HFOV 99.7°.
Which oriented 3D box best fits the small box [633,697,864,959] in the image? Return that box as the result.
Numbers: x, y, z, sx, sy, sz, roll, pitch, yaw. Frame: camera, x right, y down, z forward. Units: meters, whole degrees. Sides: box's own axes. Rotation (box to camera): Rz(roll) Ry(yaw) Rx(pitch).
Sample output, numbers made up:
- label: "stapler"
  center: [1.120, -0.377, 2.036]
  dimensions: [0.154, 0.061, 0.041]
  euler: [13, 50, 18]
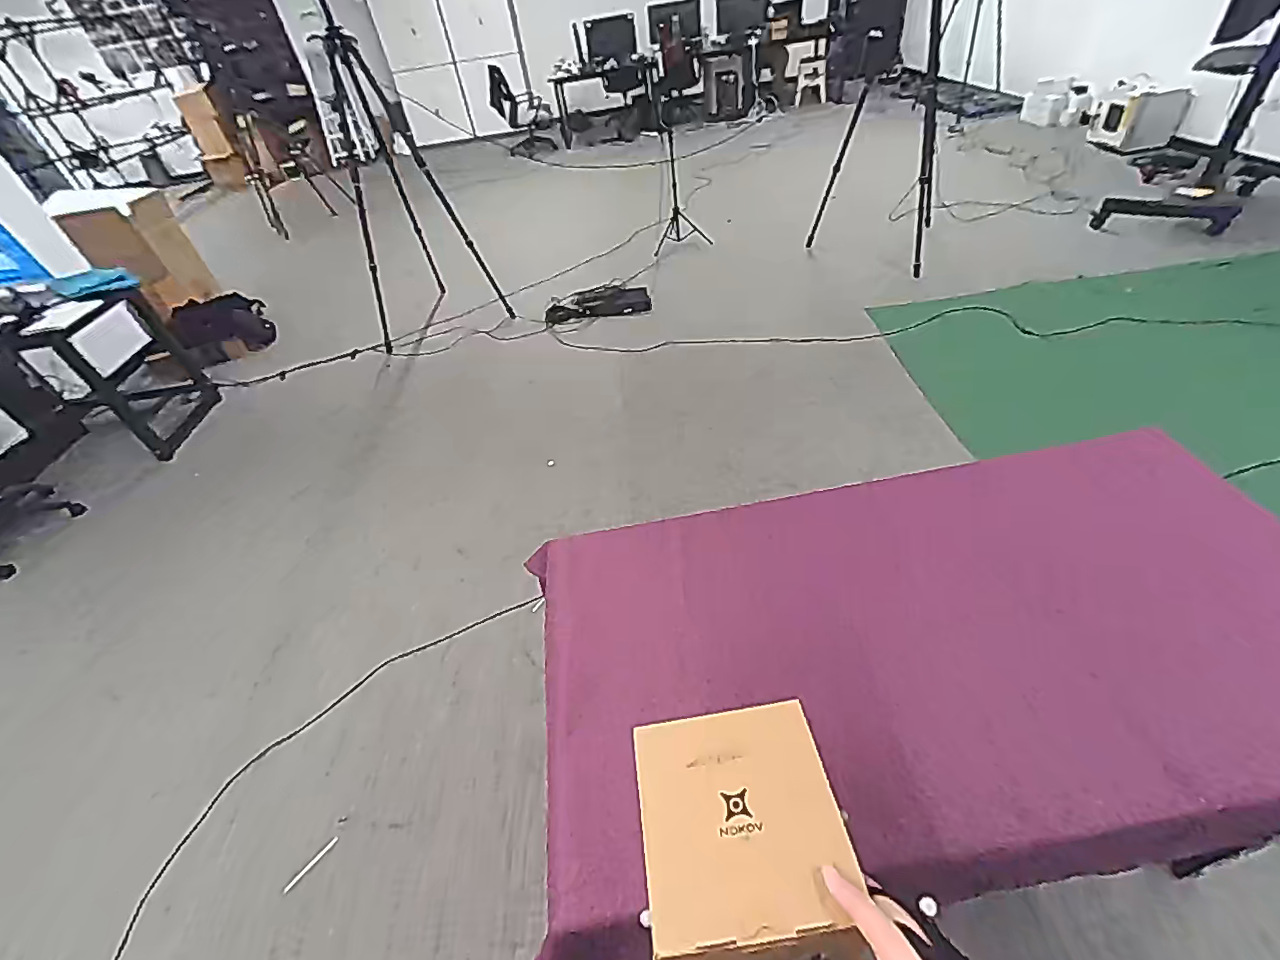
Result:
- label: "small box"
  center: [0.091, 0.340, 0.511]
  dimensions: [0.168, 0.176, 0.179]
  euler: [-9, 36, 0]
